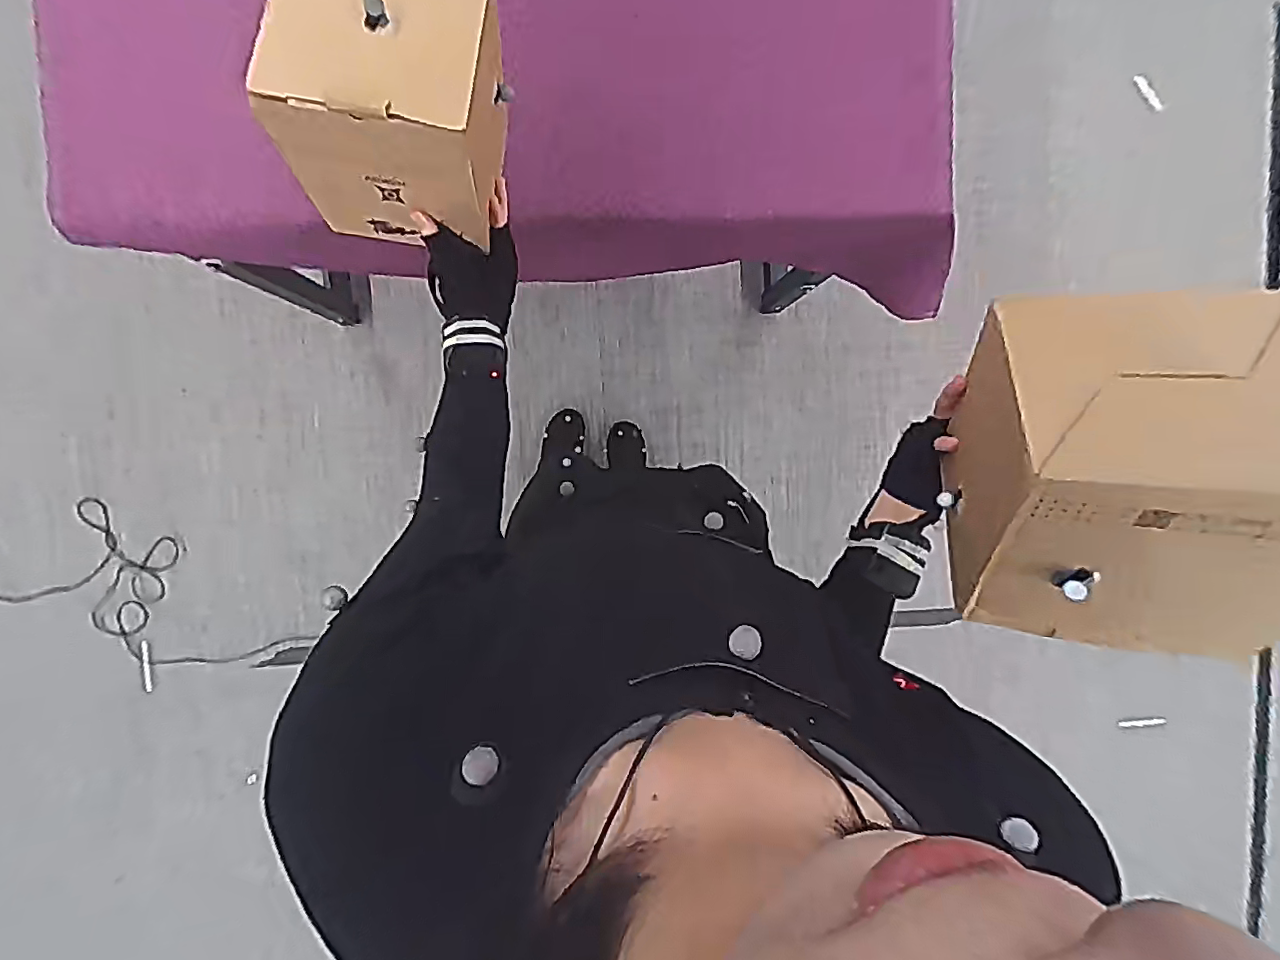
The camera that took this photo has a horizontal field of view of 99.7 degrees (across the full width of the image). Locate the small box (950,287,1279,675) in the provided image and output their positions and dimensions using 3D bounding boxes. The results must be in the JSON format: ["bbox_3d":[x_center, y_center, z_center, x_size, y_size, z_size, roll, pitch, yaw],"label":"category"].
[{"bbox_3d":[0.319,-0.004,0.351,0.168,0.176,0.179,7,51,18],"label":"small box"}]

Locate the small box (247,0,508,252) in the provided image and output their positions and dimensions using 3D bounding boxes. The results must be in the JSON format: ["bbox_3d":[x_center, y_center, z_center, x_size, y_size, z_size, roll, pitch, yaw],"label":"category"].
[{"bbox_3d":[-0.222,-0.352,0.510,0.168,0.179,0.176,7,77,-8],"label":"small box"}]
